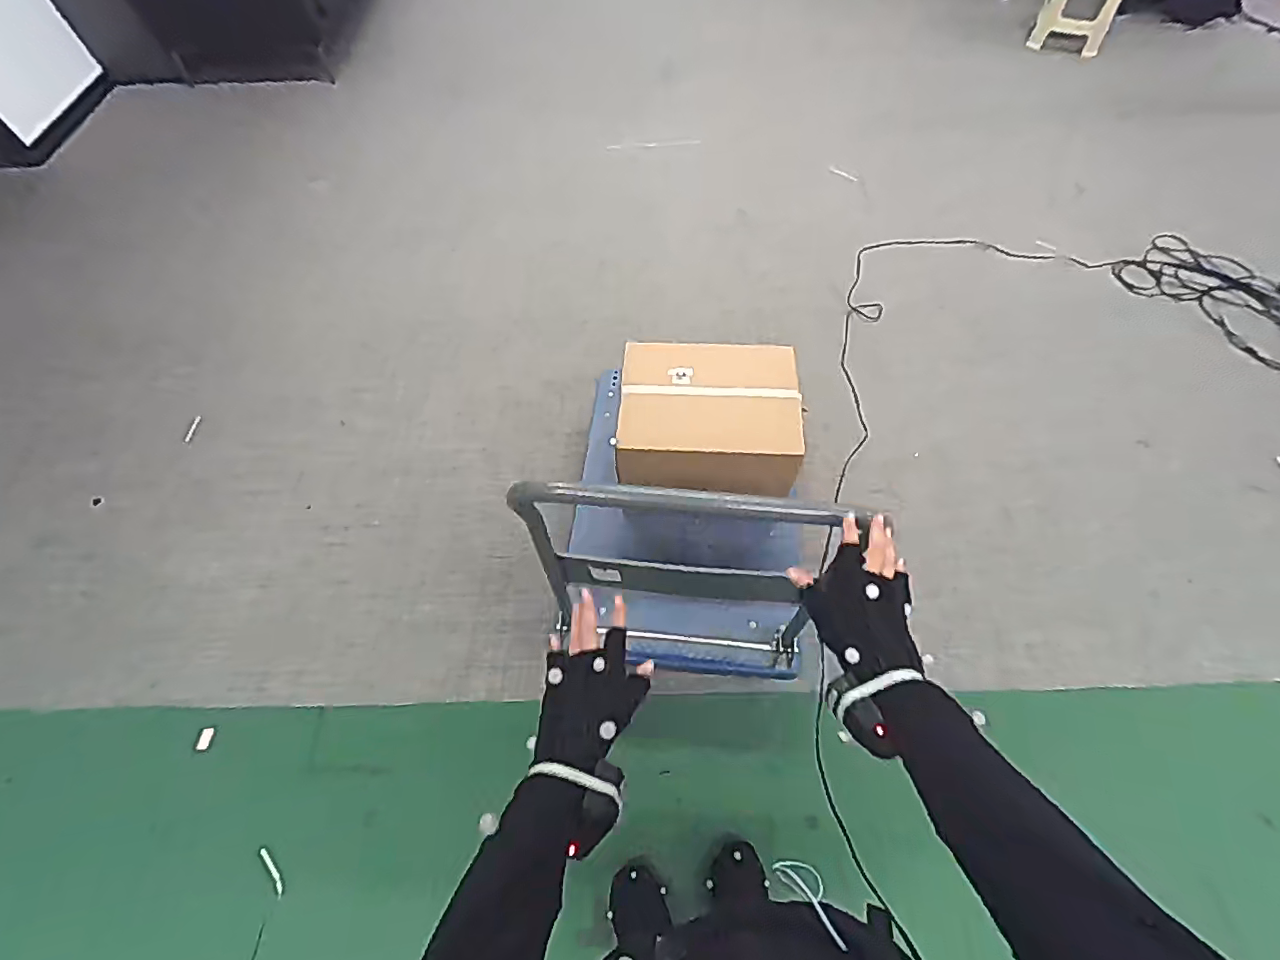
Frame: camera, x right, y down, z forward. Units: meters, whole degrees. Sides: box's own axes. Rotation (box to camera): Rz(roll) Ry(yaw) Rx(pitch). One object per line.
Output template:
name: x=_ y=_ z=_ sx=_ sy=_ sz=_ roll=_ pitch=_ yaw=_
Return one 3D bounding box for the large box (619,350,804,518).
large box: x=0.167 y=-0.108 z=1.365 sx=0.408 sy=0.320 sz=0.320 roll=2 pitch=58 yaw=4
